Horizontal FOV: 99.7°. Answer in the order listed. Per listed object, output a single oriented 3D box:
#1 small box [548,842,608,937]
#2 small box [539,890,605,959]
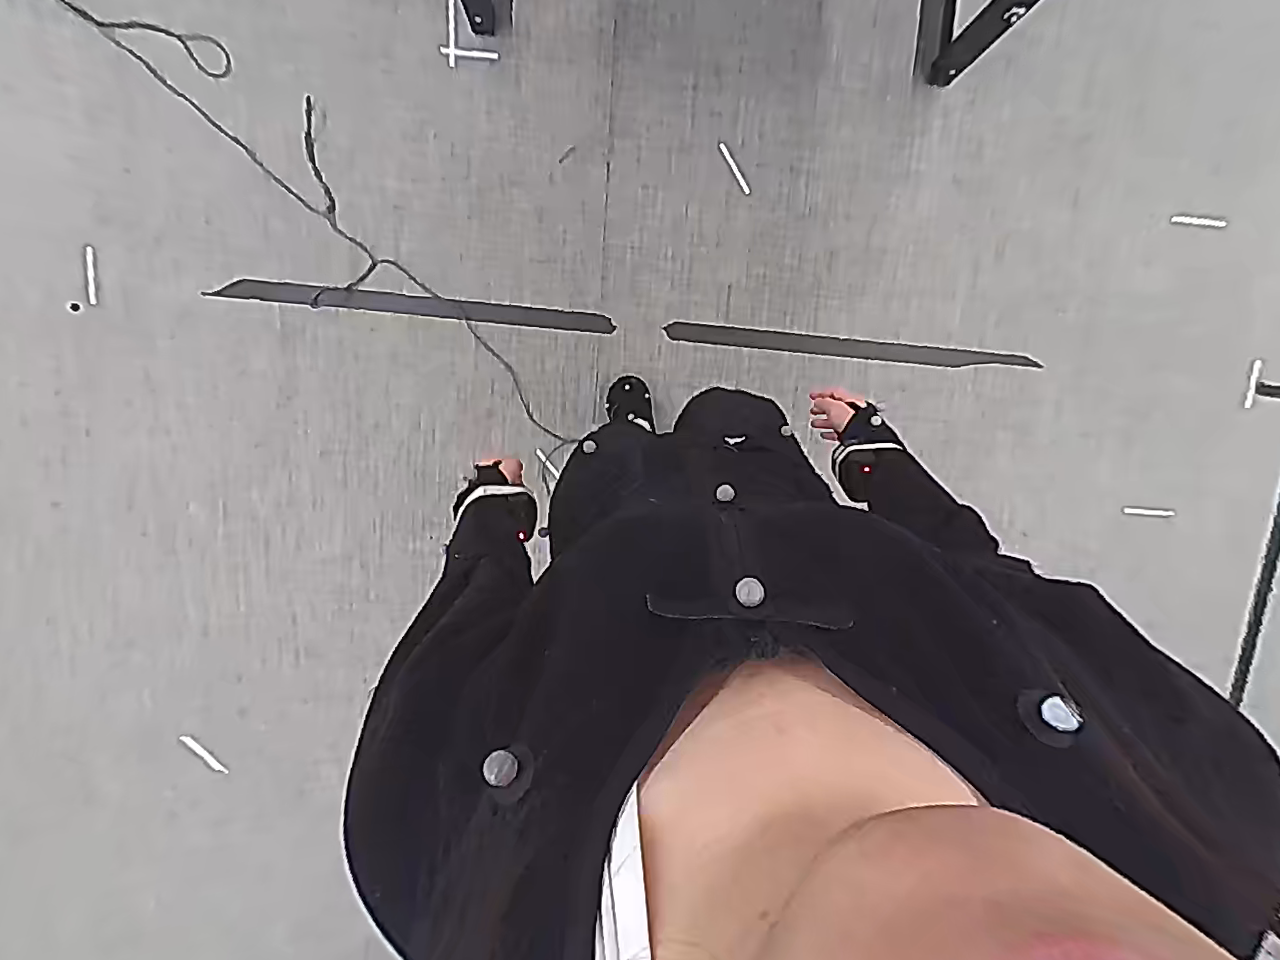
[{"bbox_3d":[-0.182,1.218,1.616,0.168,0.176,0.179,-1,101,-2],"label":"small box"},{"bbox_3d":[-0.180,1.245,1.454,0.168,0.176,0.179,0,100,-3],"label":"small box"}]
